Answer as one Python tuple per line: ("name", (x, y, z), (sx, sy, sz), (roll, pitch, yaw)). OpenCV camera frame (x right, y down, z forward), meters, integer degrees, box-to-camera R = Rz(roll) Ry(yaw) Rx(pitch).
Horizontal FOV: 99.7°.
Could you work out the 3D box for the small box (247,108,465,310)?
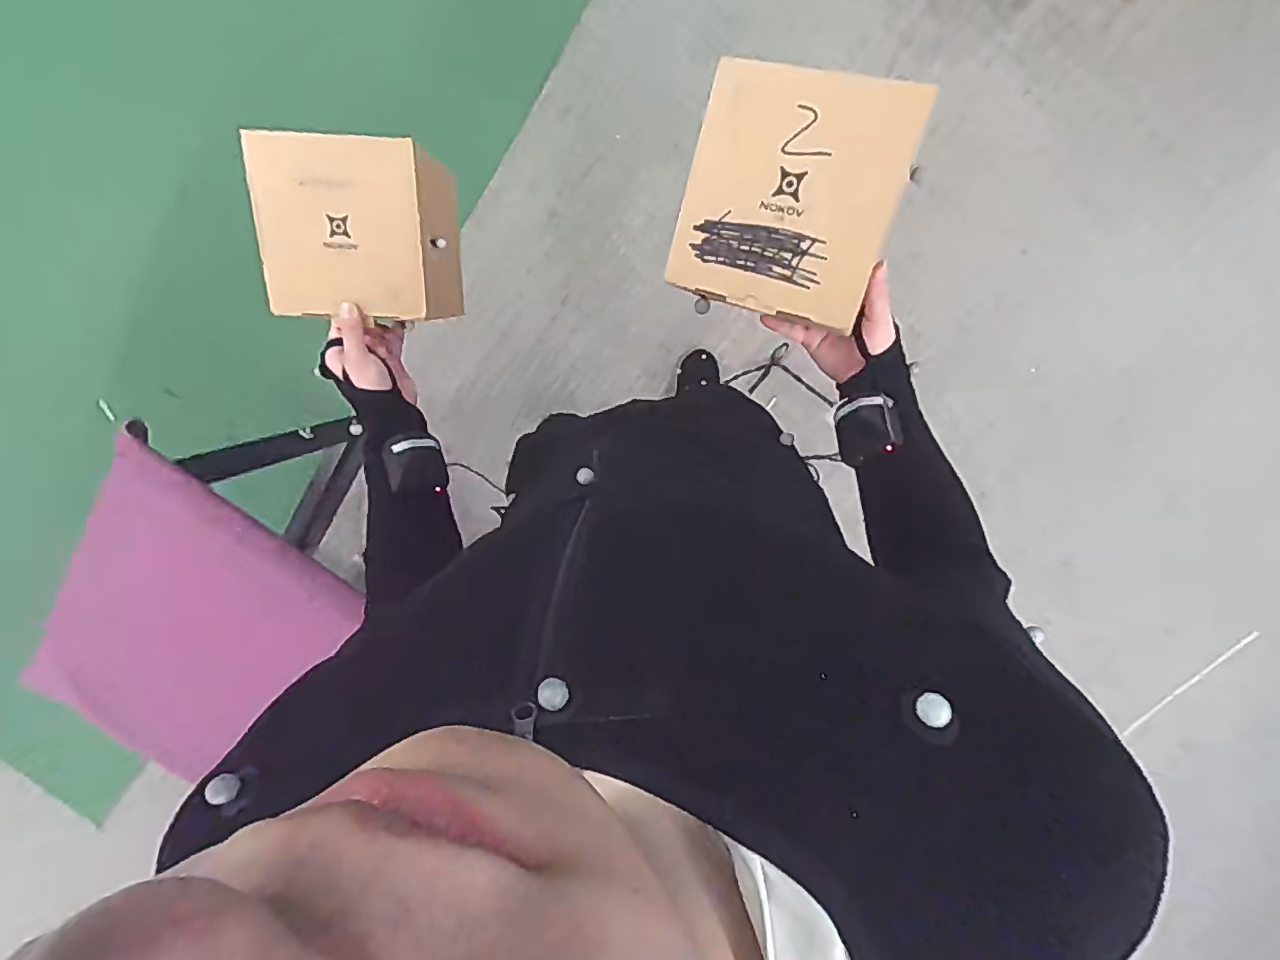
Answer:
("small box", (-0.305, -0.296, 0.625), (0.168, 0.176, 0.179), (3, 108, -4))
